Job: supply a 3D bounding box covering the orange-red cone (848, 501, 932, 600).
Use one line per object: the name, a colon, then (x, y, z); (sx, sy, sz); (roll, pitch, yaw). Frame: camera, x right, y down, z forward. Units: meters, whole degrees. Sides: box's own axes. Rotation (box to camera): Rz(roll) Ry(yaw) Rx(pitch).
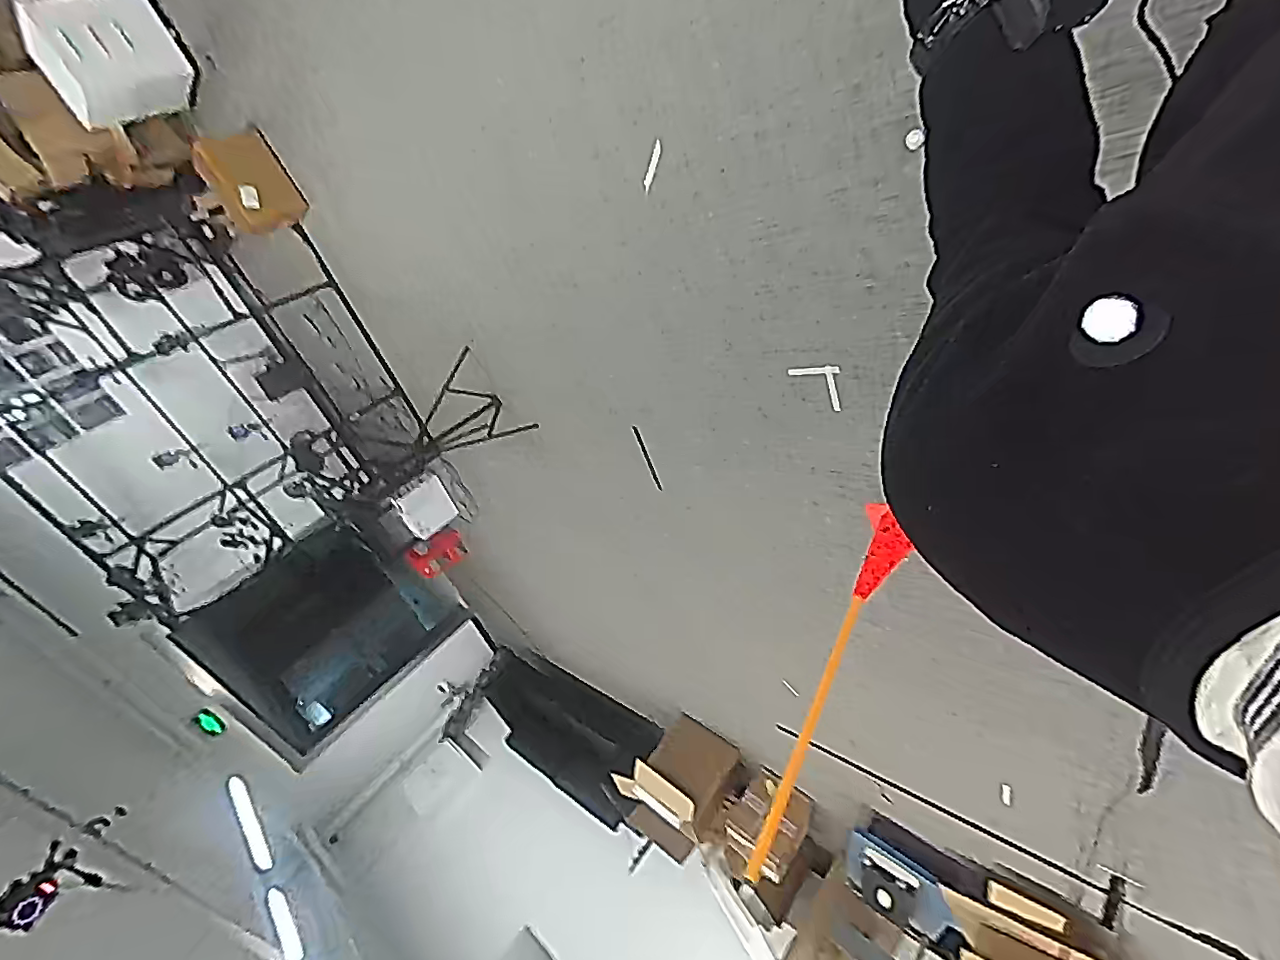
orange-red cone: (0.762, 0.252, 1.737); (0.199, 0.360, 0.198); (2, 126, 51)
